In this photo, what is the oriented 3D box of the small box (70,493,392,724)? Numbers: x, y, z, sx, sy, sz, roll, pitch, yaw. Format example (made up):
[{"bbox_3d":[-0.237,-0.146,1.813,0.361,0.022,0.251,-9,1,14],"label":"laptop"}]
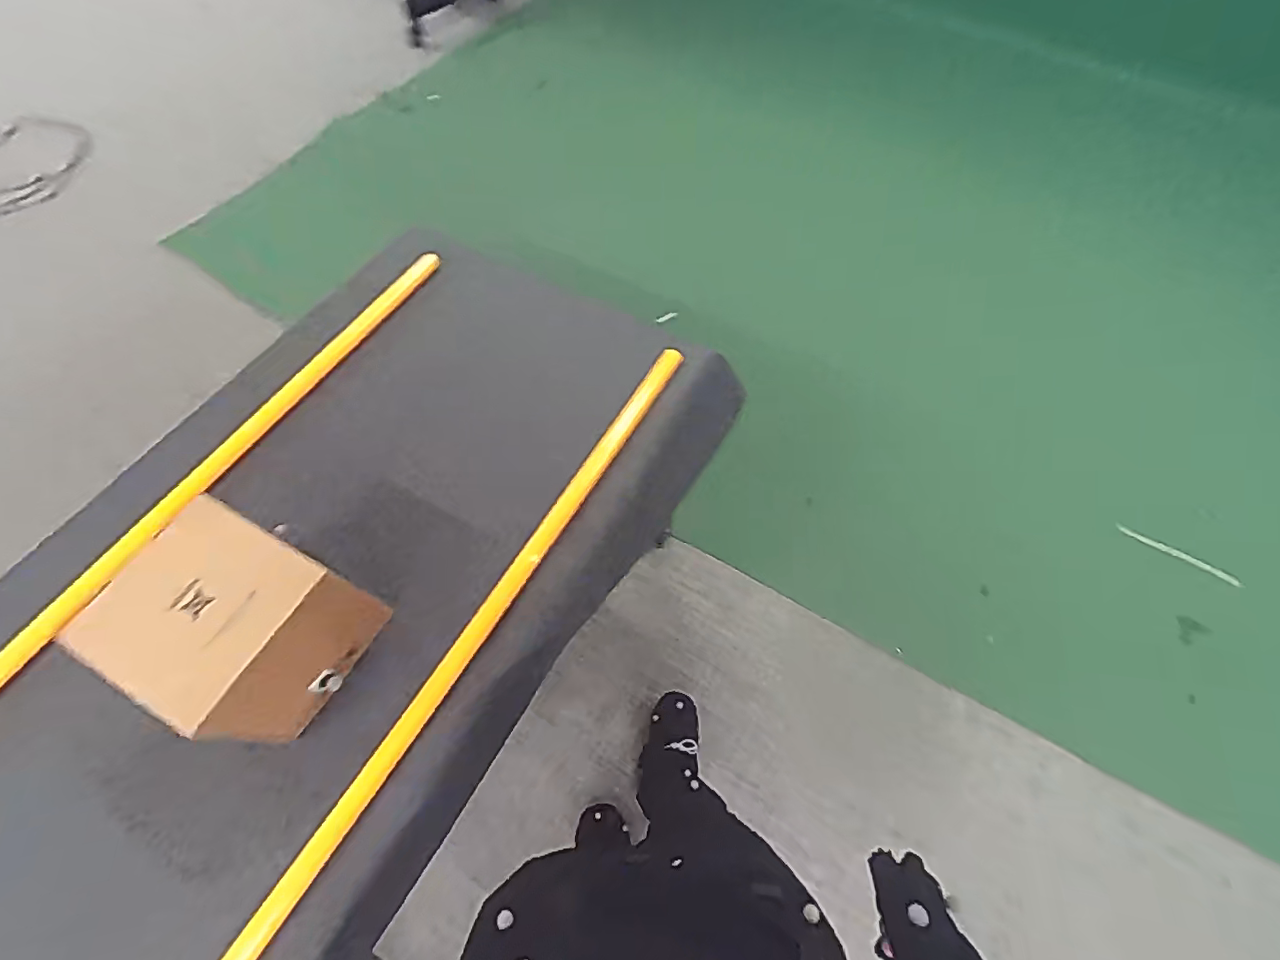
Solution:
[{"bbox_3d":[-0.413,0.147,0.582,0.179,0.176,0.168,26,66,11],"label":"small box"}]
